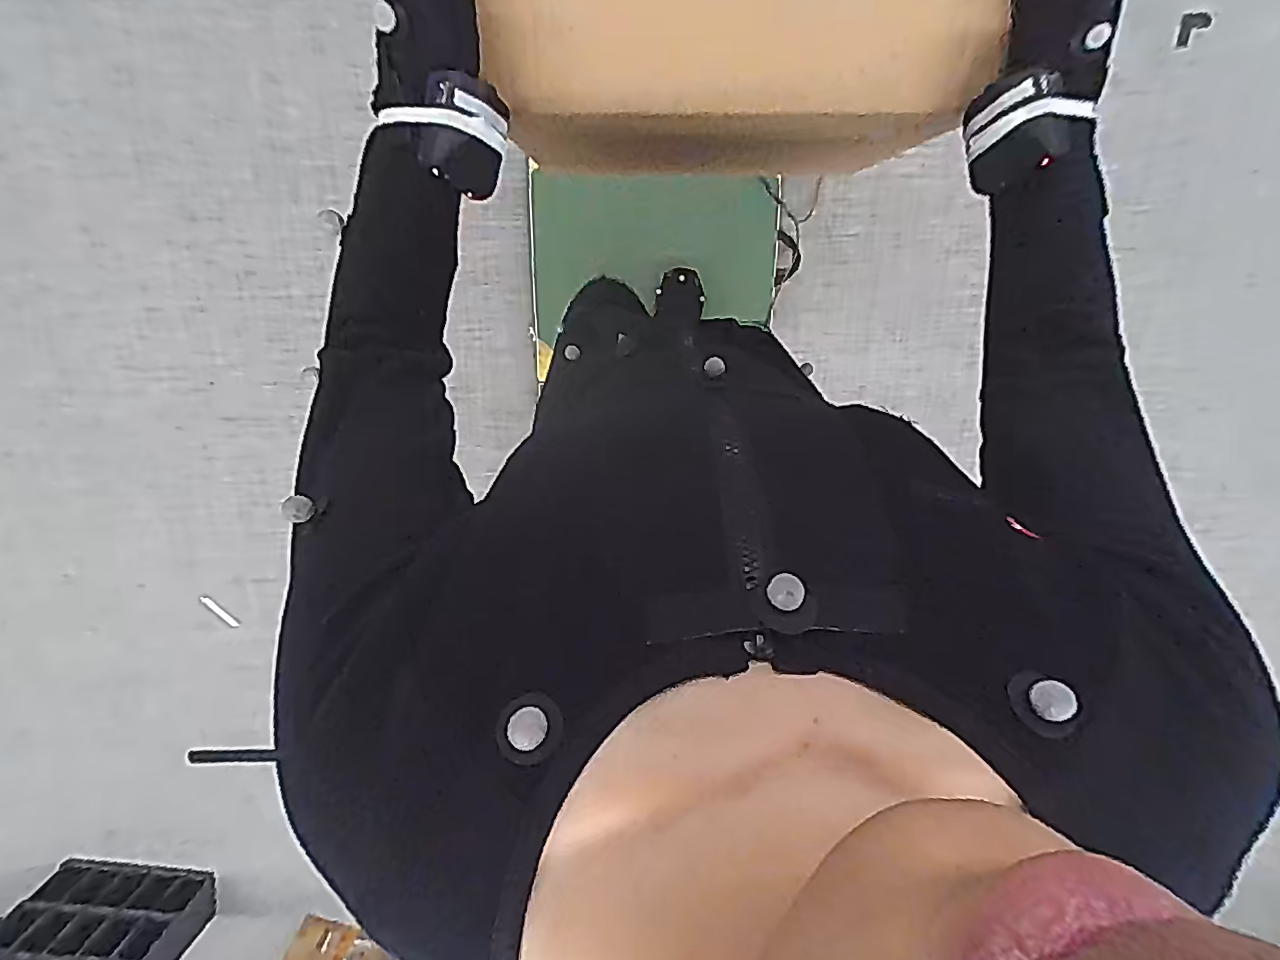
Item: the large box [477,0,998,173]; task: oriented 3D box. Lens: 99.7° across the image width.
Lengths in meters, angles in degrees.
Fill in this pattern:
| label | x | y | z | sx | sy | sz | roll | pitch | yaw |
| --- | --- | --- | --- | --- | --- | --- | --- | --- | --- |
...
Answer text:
| label | x | y | z | sx | sy | sz | roll | pitch | yaw |
| --- | --- | --- | --- | --- | --- | --- | --- | --- | --- |
| large box | 0.068 | -0.497 | 0.513 | 0.408 | 0.320 | 0.320 | -1 | 112 | -1 |
